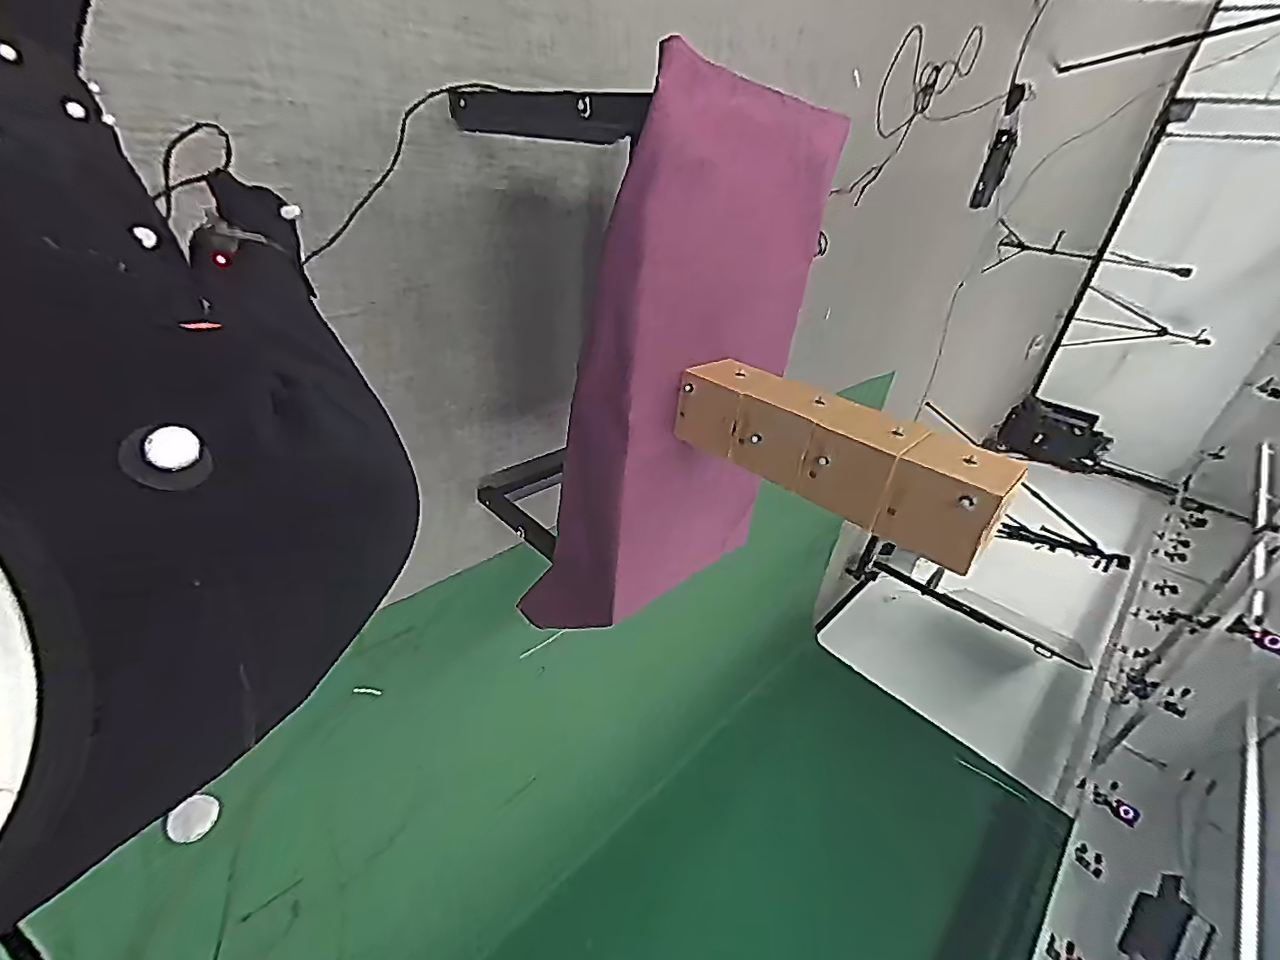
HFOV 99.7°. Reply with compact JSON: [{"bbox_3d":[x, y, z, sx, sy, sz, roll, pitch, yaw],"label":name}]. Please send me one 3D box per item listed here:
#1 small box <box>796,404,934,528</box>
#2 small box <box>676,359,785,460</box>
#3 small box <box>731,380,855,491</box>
[{"bbox_3d":[0.440,-0.038,1.069,0.179,0.176,0.168,-23,130,-39],"label":"small box"},{"bbox_3d":[0.204,-0.170,1.253,0.179,0.176,0.168,-23,131,-40],"label":"small box"},{"bbox_3d":[0.324,-0.105,1.161,0.179,0.176,0.168,-22,130,-39],"label":"small box"}]
